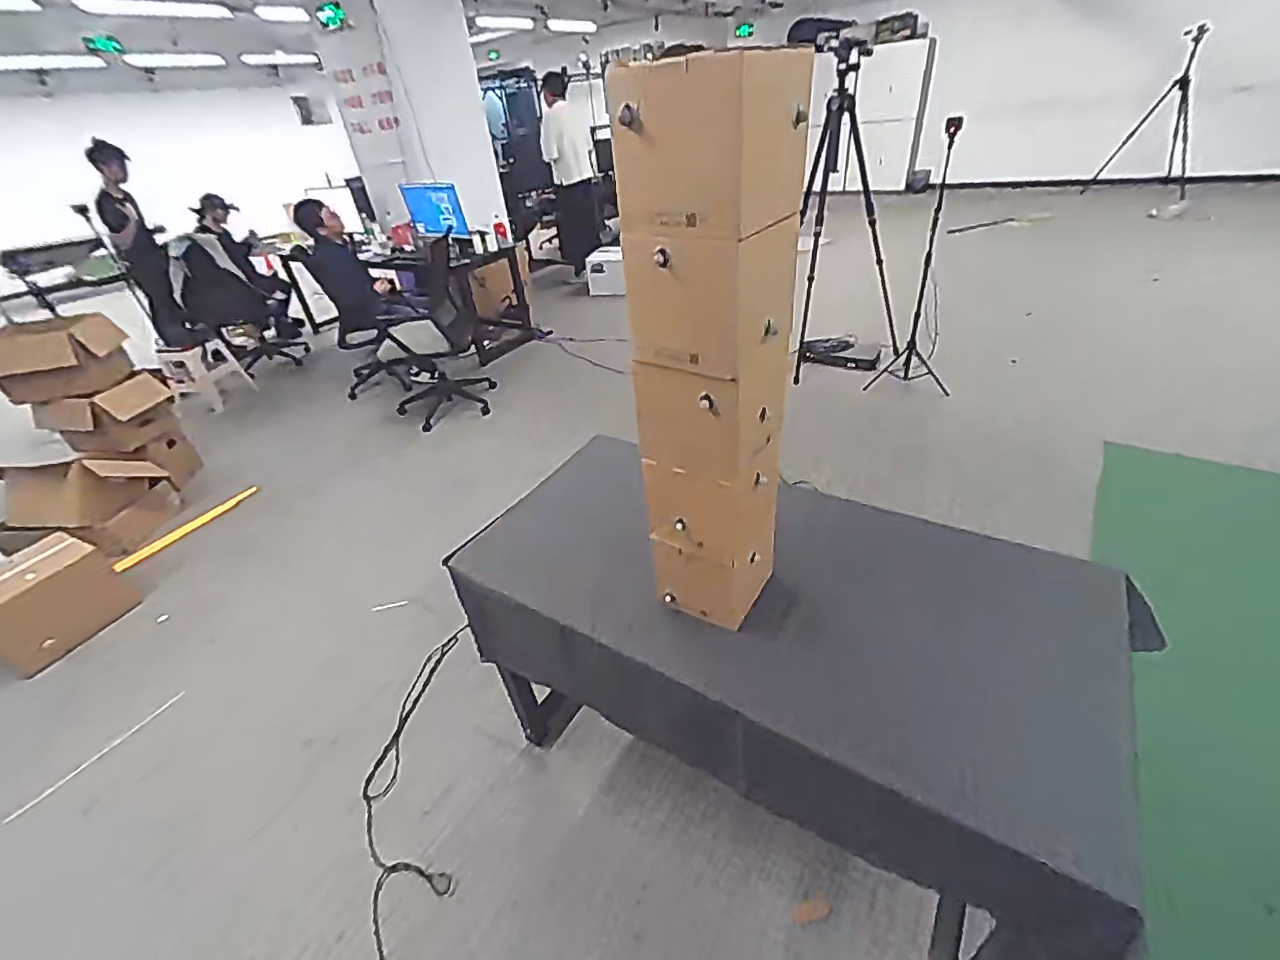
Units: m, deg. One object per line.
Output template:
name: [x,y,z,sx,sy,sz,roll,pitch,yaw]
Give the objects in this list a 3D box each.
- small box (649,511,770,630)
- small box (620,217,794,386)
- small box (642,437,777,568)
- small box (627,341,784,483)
small box: [0.137,0.149,1.020,0.168,0.176,0.179,16,40,30]
small box: [0.092,-0.249,0.737,0.168,0.176,0.179,19,42,32]
small box: [0.121,0.017,0.927,0.168,0.176,0.179,16,41,30]
small box: [0.104,-0.116,0.832,0.179,0.176,0.168,18,41,31]
